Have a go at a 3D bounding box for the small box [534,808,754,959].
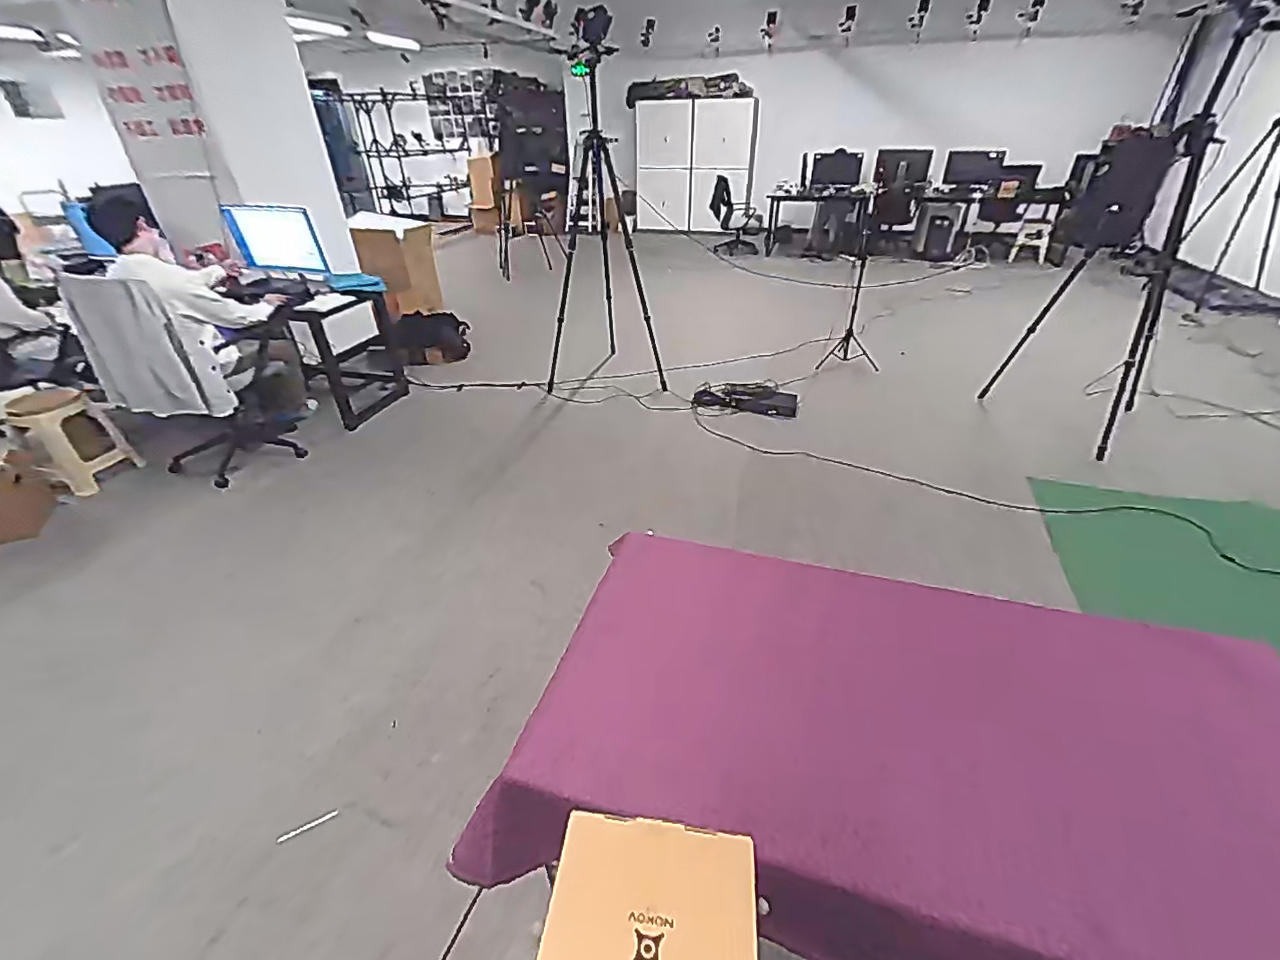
[{"bbox_3d":[0.006,0.420,0.453,0.168,0.176,0.179,4,29,7],"label":"small box"}]
